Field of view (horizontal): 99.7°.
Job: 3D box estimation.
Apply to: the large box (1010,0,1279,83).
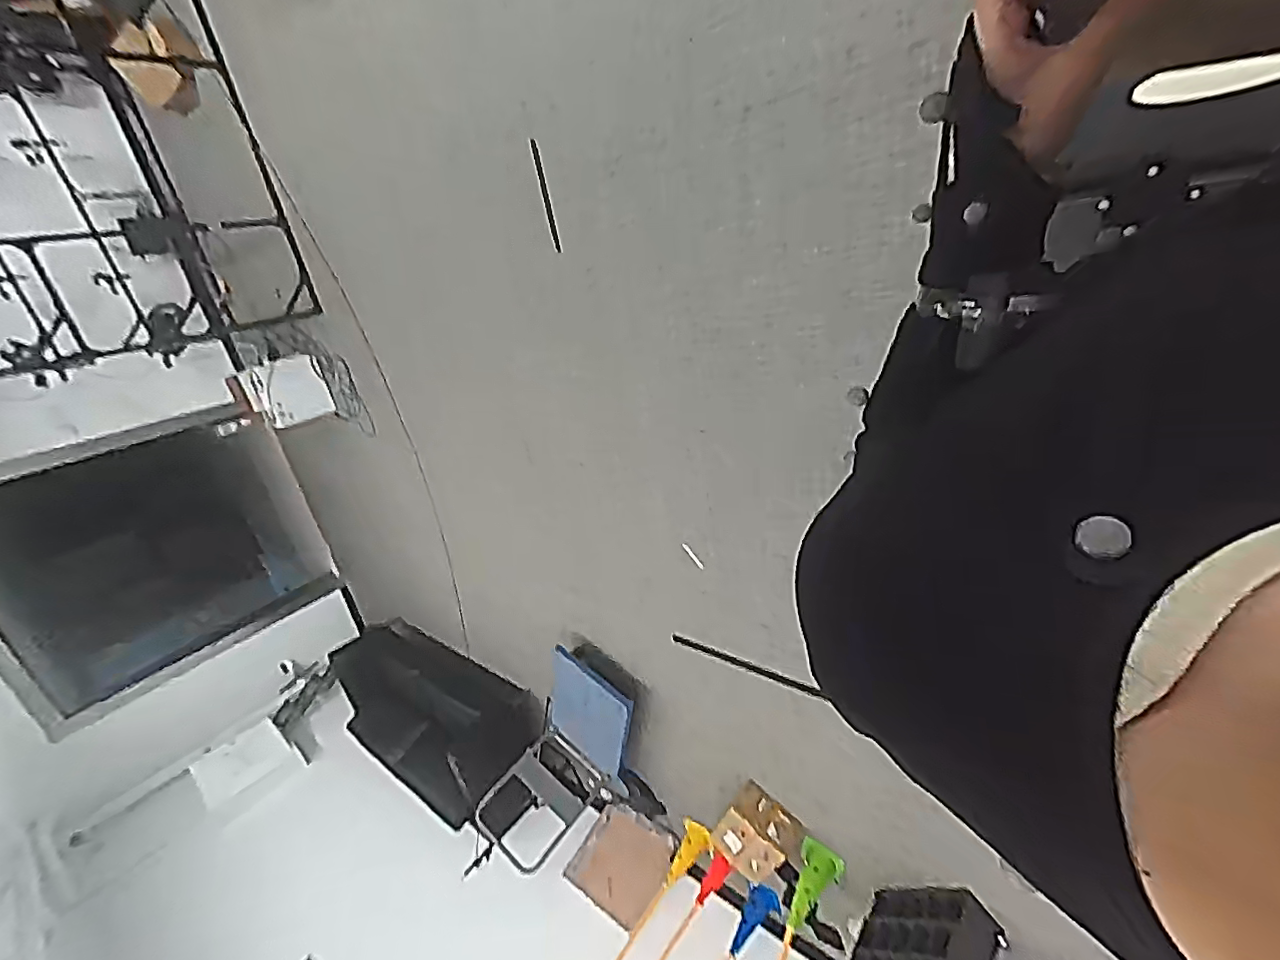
[{"bbox_3d":[0.346,-0.356,0.120,0.408,0.320,0.320,18,117,41],"label":"large box"}]
